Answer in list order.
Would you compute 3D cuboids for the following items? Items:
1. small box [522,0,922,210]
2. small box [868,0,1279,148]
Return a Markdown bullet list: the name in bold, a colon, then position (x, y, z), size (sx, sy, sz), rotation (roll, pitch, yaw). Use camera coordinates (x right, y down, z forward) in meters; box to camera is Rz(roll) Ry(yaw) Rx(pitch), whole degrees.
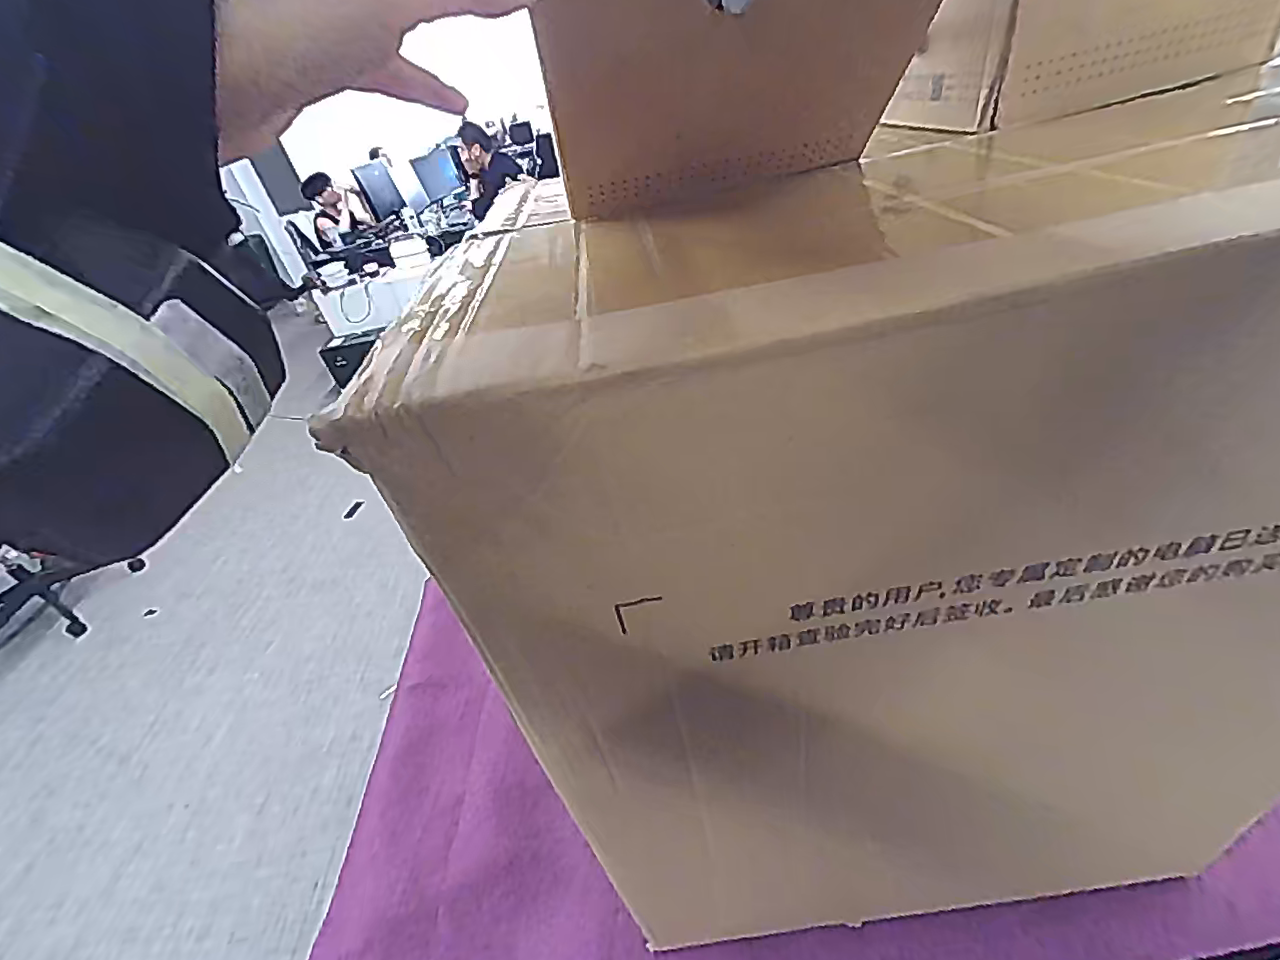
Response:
- **small box**: position (0.028, -0.258, 0.254), size (0.179, 0.176, 0.168), rotation (-11, 81, -1)
- **small box**: position (0.264, -0.329, 0.338), size (0.179, 0.176, 0.168), rotation (-15, 37, 0)
